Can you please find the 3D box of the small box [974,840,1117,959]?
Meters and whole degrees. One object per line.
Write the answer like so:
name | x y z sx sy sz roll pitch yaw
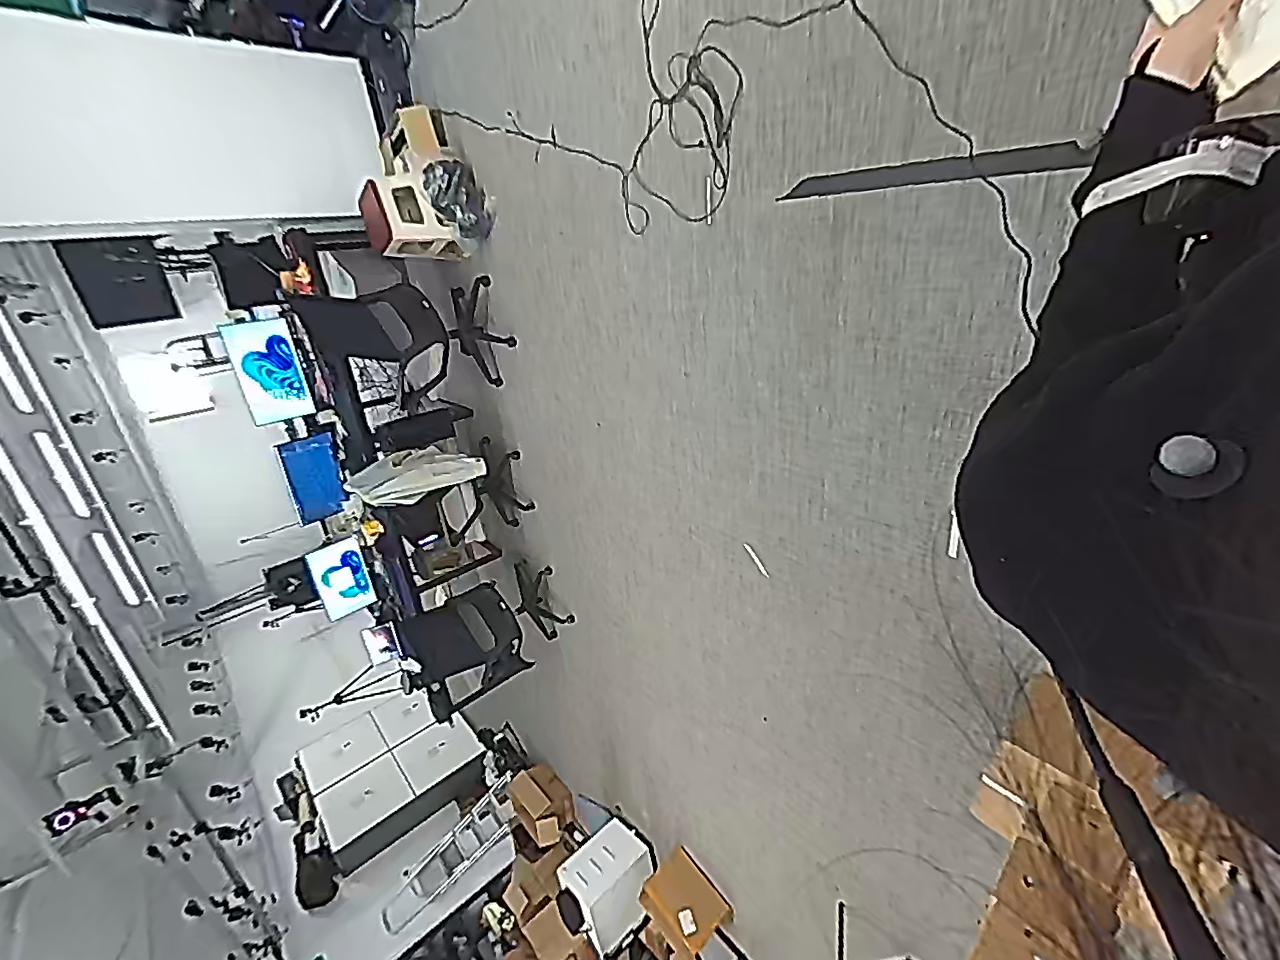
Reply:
small box | 0.824 0.883 1.103 0.179 0.176 0.168 24 129 42

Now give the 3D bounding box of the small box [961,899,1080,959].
small box | 0.705 0.952 1.012 0.168 0.176 0.179 27 130 41
